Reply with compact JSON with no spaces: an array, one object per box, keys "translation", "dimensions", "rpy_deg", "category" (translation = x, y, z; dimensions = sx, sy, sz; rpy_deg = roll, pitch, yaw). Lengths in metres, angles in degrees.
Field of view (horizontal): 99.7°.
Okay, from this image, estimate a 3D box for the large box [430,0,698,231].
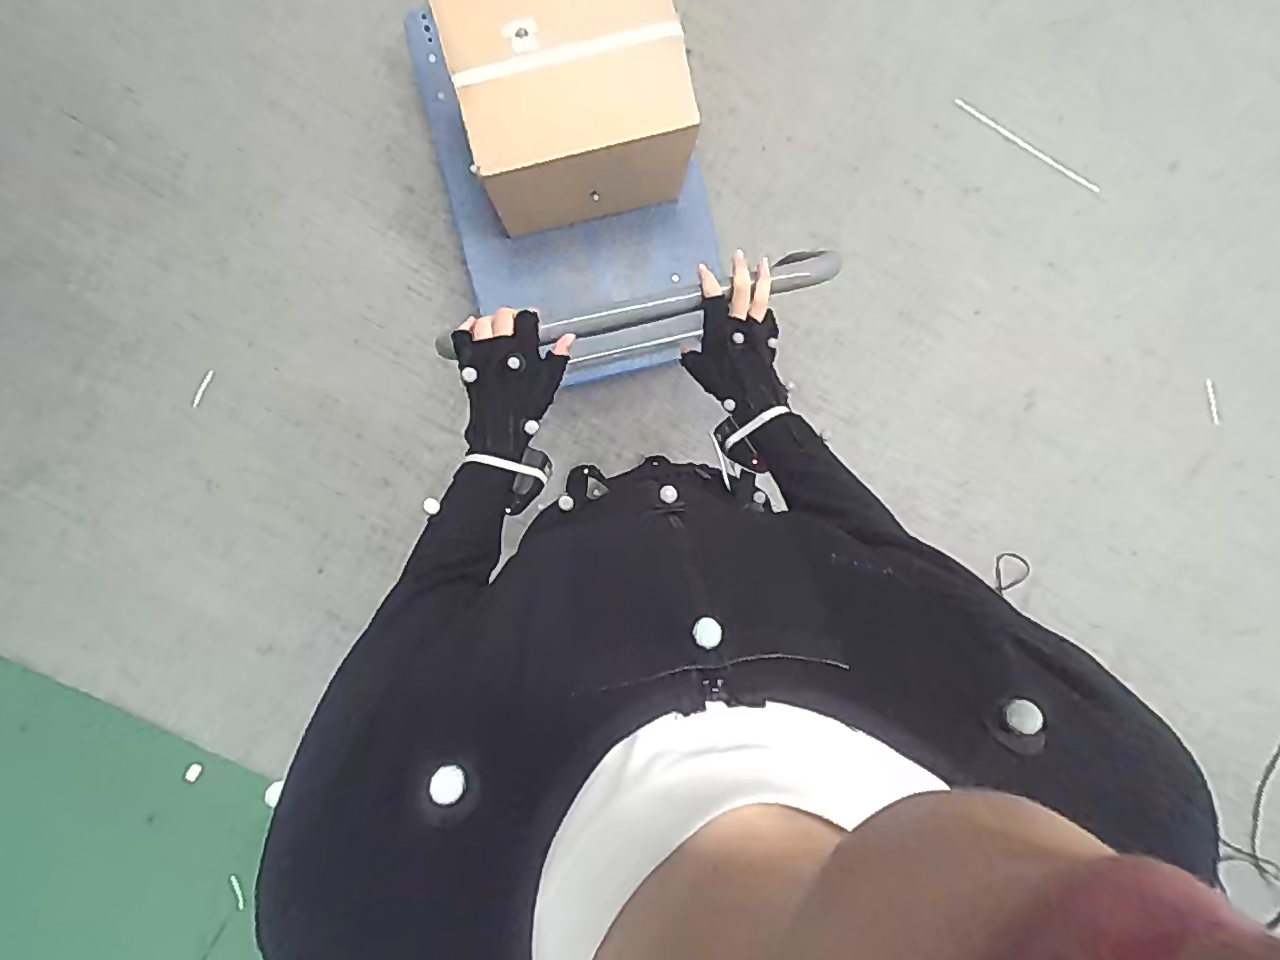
[{"translation":[-0.133,-0.746,1.078],"dimensions":[0.408,0.320,0.320],"rpy_deg":[-15,96,-1],"category":"large box"}]
